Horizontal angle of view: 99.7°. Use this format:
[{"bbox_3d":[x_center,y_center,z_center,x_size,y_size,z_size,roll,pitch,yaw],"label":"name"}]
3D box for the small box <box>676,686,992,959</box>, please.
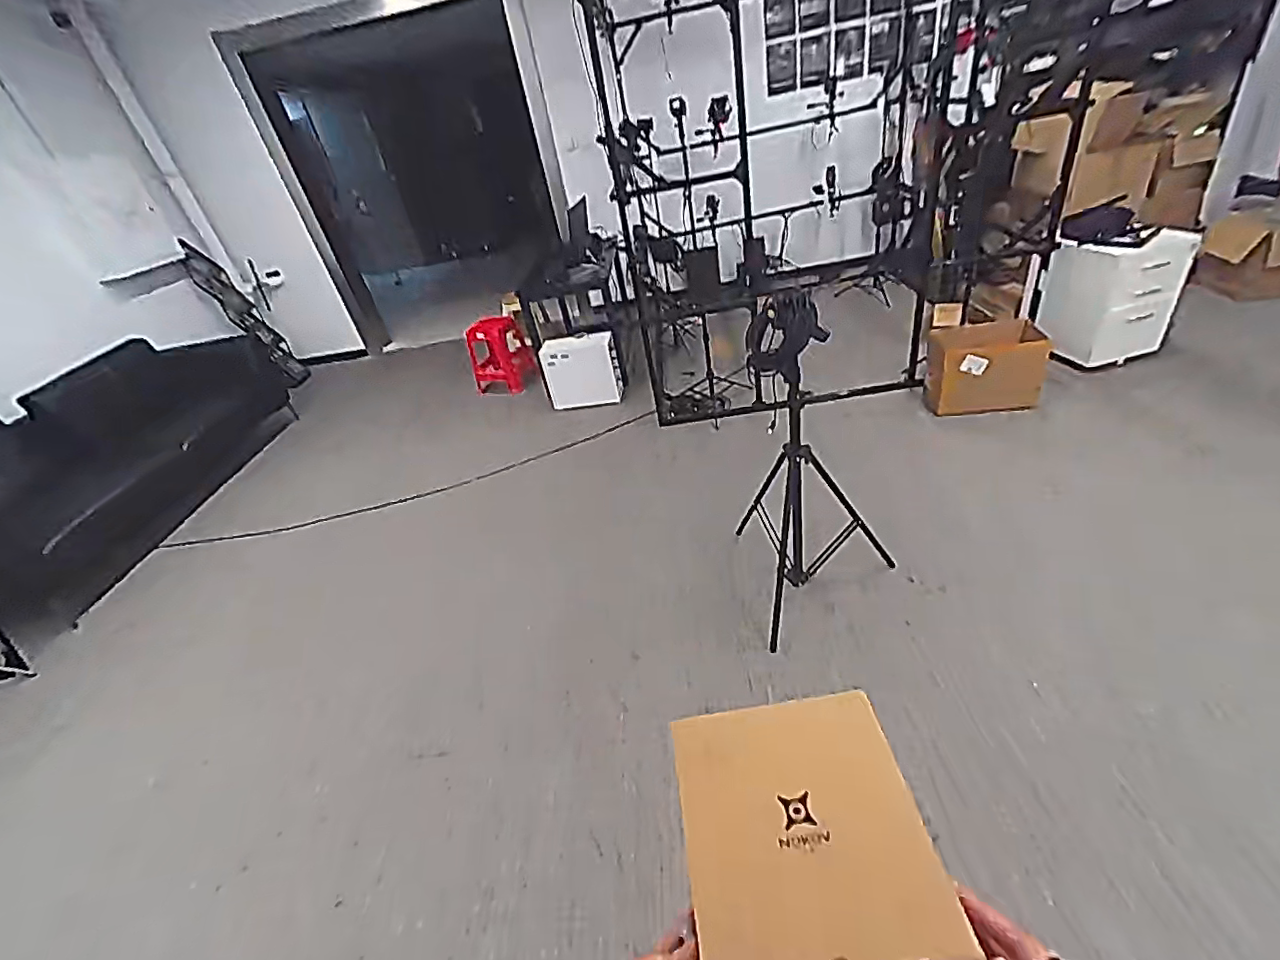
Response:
[{"bbox_3d":[0.126,0.294,0.423,0.168,0.176,0.179,-10,38,2],"label":"small box"}]
